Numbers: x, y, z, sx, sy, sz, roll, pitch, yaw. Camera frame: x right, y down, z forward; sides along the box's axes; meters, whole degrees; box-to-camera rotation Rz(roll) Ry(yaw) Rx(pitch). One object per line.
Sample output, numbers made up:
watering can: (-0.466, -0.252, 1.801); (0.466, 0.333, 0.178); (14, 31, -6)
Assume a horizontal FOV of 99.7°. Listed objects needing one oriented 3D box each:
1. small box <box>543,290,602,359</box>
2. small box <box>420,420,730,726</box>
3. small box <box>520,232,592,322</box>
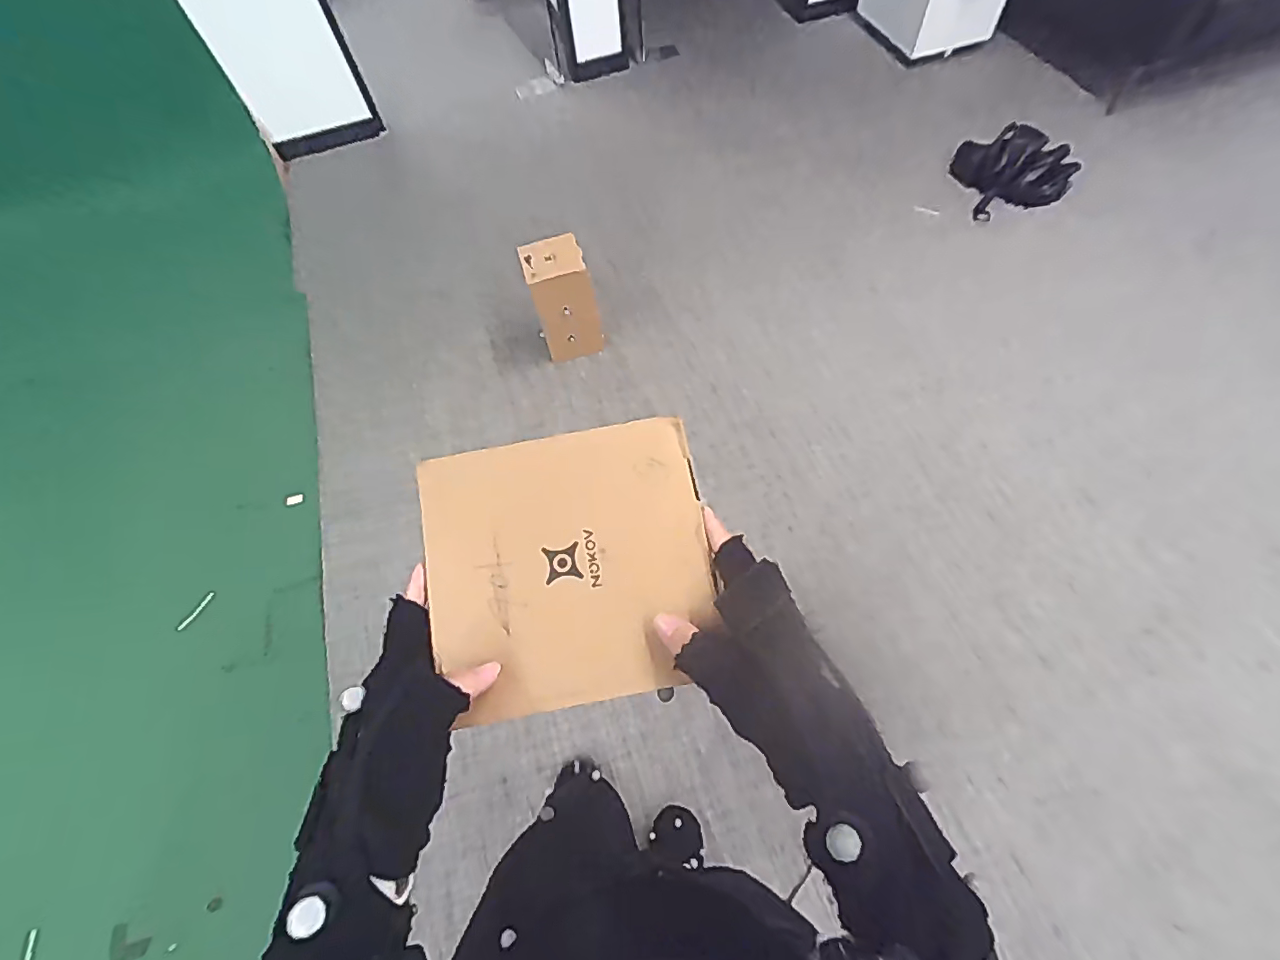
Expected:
small box: (-0.227, -0.527, 1.770); (0.179, 0.176, 0.168); (-18, 63, -6)
small box: (-0.043, 0.072, 0.415); (0.179, 0.176, 0.168); (-12, 74, 0)
small box: (-0.246, -0.607, 1.628); (0.179, 0.176, 0.168); (-16, 63, -4)
